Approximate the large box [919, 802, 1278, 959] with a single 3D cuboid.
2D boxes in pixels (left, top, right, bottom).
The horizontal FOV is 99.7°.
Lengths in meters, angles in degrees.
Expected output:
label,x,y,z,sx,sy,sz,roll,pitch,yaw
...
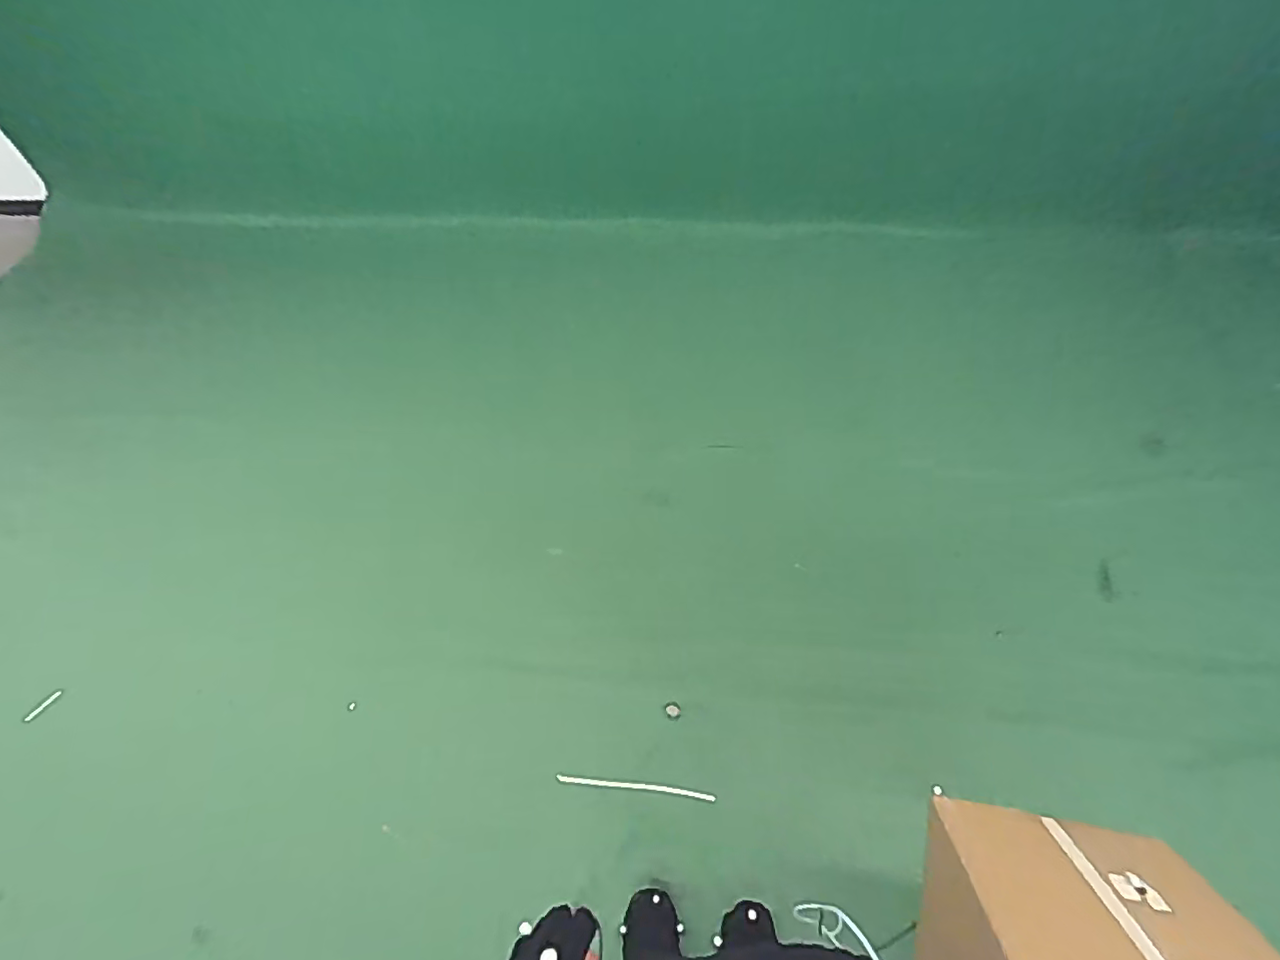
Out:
label,x,y,z,sx,sy,sz,roll,pitch,yaw
large box,0.551,0.671,0.629,0.320,0.408,0.320,6,92,14
